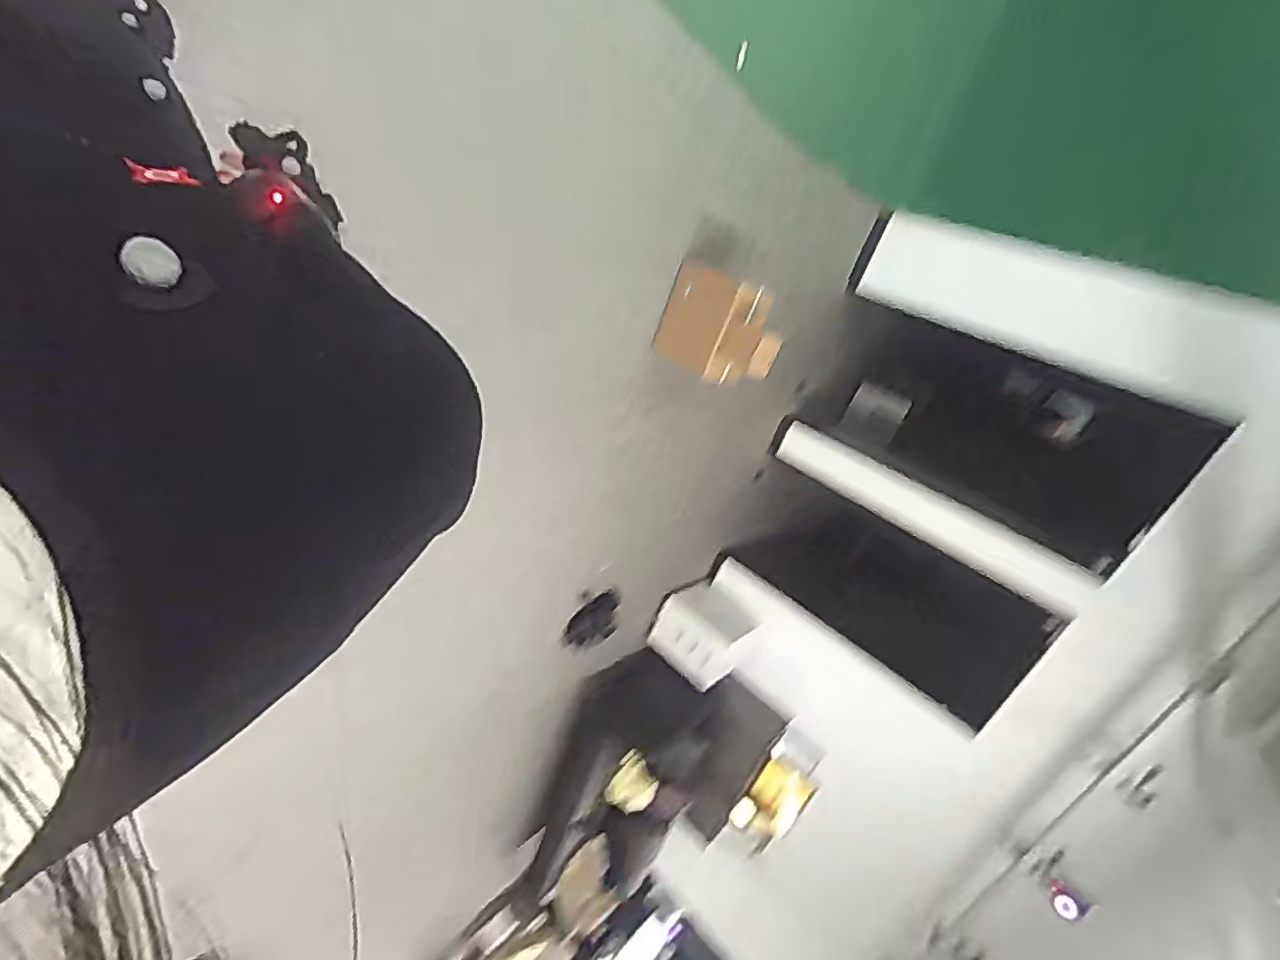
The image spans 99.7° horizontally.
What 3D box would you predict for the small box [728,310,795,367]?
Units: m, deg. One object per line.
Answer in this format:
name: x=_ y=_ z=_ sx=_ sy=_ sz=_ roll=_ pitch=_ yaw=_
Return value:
small box: x=0.482 y=-0.569 z=2.169 sx=0.179 sy=0.176 sz=0.168 roll=-3 pitch=122 yaw=-51
